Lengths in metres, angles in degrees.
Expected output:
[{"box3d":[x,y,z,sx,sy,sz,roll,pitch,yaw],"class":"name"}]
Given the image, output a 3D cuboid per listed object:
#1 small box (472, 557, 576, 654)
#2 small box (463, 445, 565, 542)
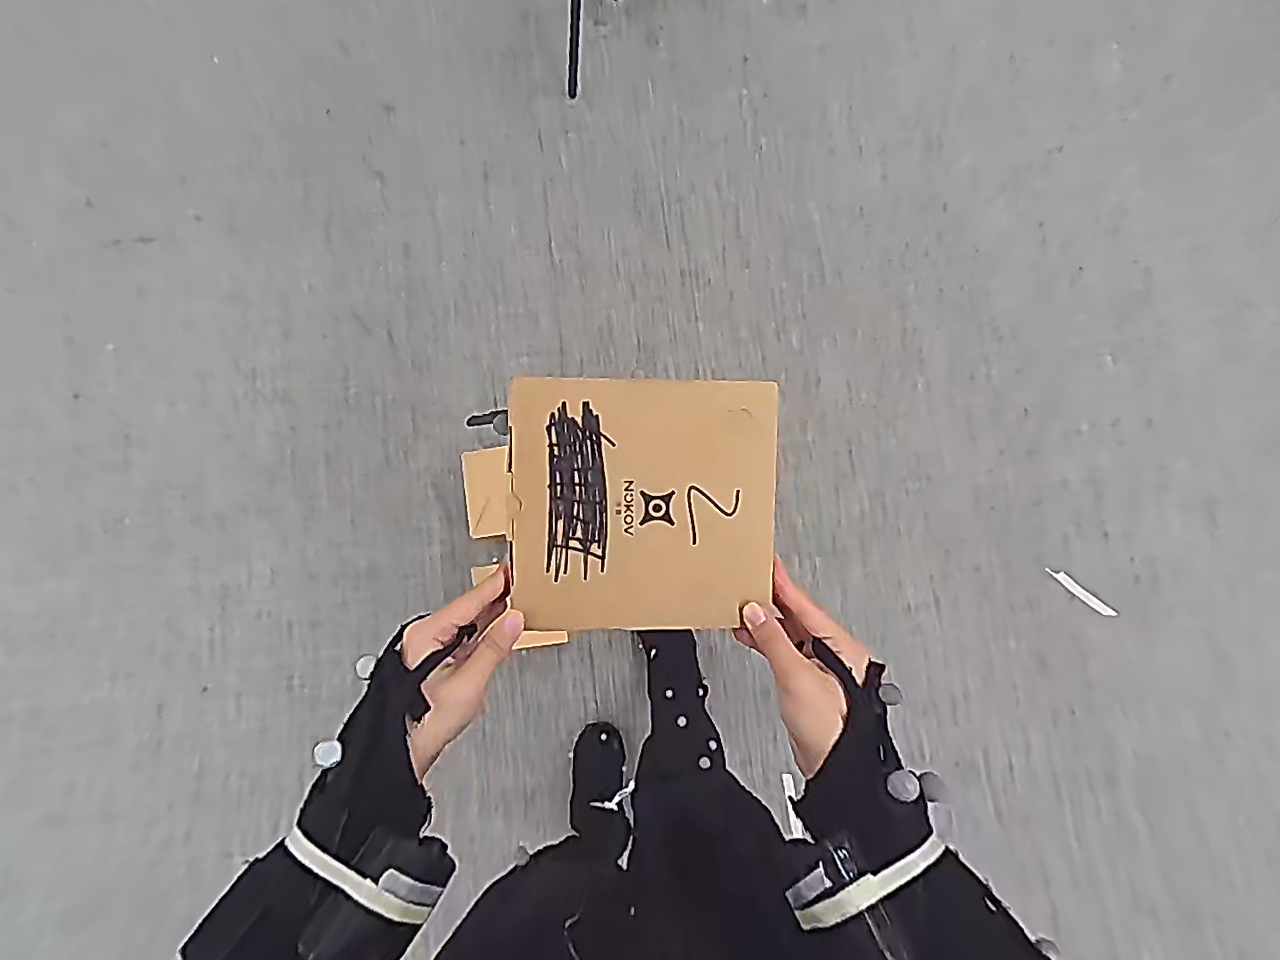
[{"box3d":[-0.232,0.252,1.121,0.179,0.176,0.168,-8,82,0],"class":"small box"},{"box3d":[-0.263,0.032,1.147,0.168,0.176,0.179,-9,82,0],"class":"small box"}]
